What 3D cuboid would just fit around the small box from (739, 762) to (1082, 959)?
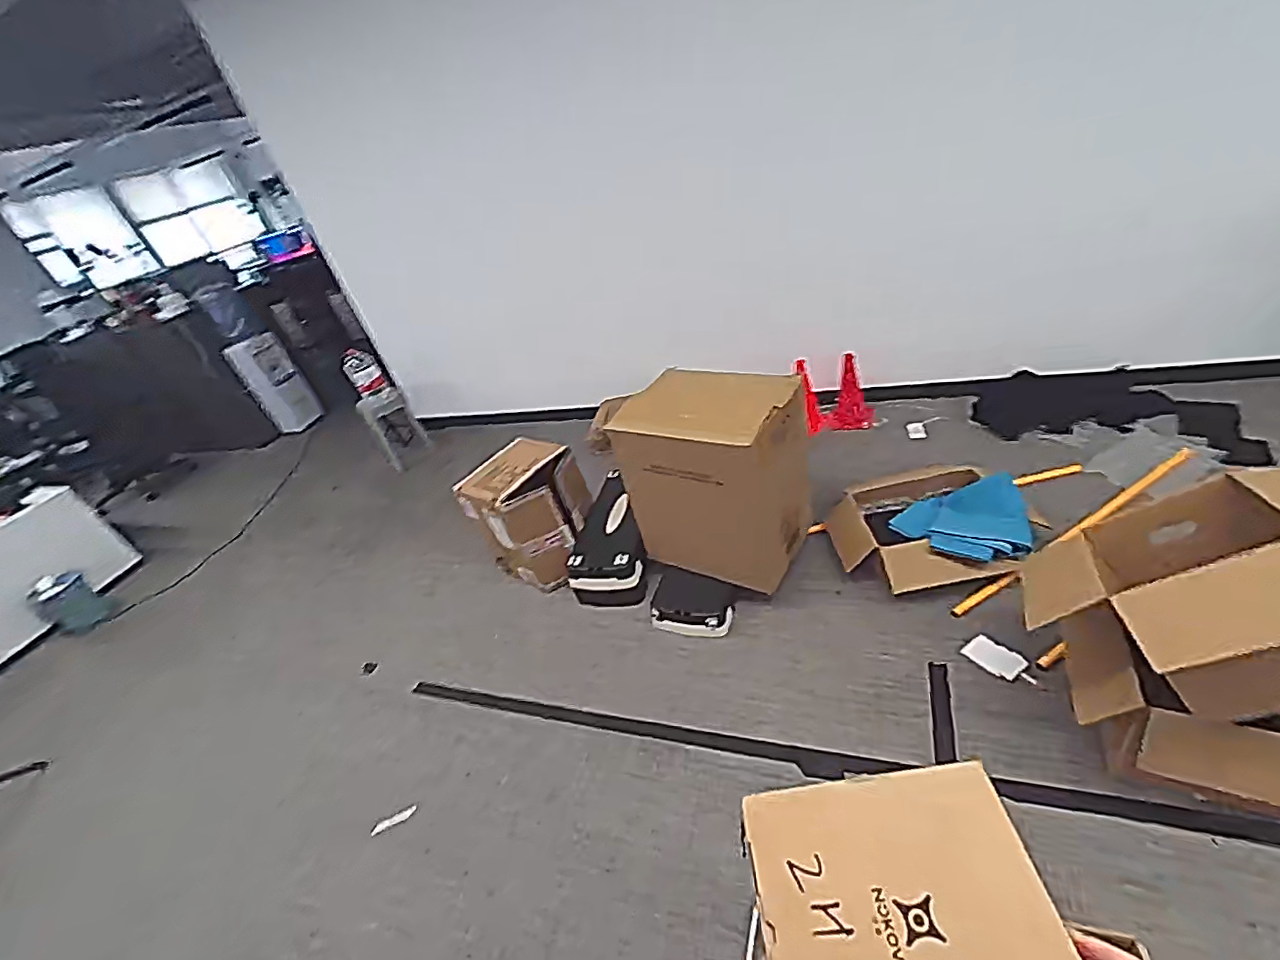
[{"bbox_3d":[0.179,0.327,0.382,0.179,0.176,0.168,-13,39,7],"label":"small box"}]
